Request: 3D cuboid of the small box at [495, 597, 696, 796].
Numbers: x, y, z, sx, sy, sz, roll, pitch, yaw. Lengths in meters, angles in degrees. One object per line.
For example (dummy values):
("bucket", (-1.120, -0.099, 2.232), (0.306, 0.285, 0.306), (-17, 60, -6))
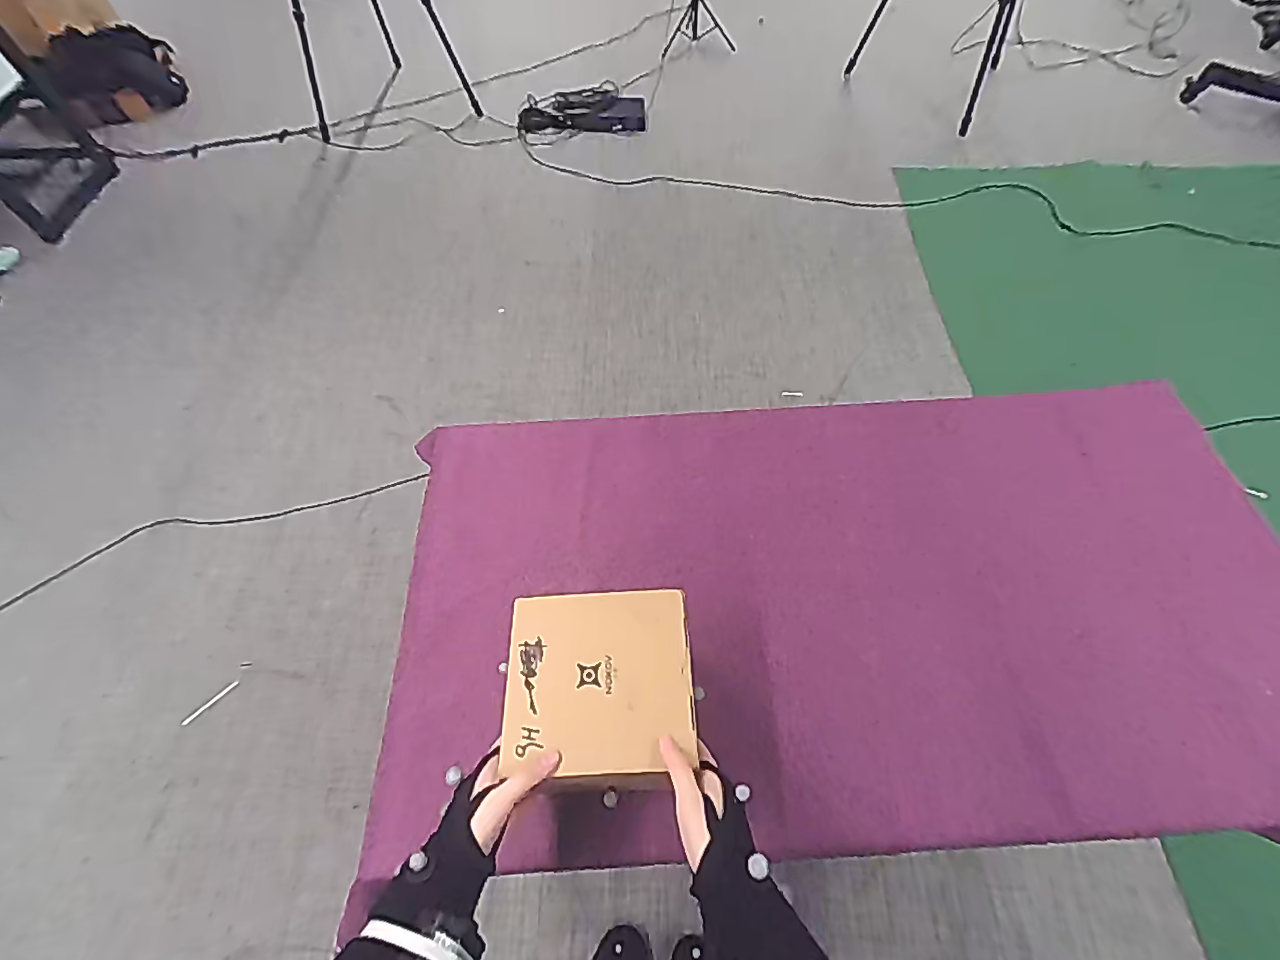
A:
("small box", (-0.037, 0.233, 0.573), (0.179, 0.176, 0.168), (-2, 55, 1))
